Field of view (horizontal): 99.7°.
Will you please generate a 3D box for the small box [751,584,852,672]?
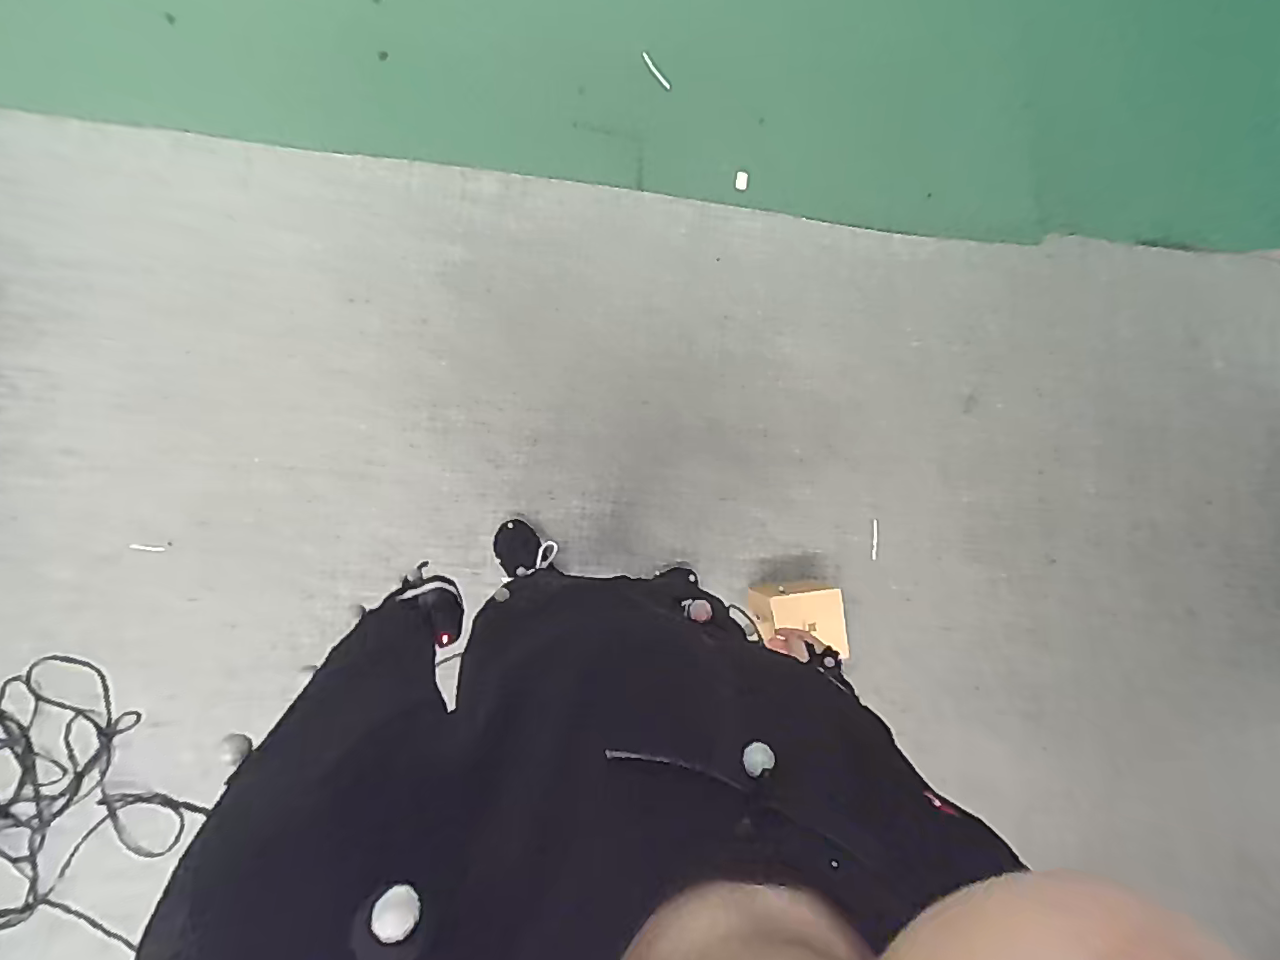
[{"bbox_3d":[0.389,0.353,1.322,0.179,0.176,0.168,-6,87,-7],"label":"small box"}]
